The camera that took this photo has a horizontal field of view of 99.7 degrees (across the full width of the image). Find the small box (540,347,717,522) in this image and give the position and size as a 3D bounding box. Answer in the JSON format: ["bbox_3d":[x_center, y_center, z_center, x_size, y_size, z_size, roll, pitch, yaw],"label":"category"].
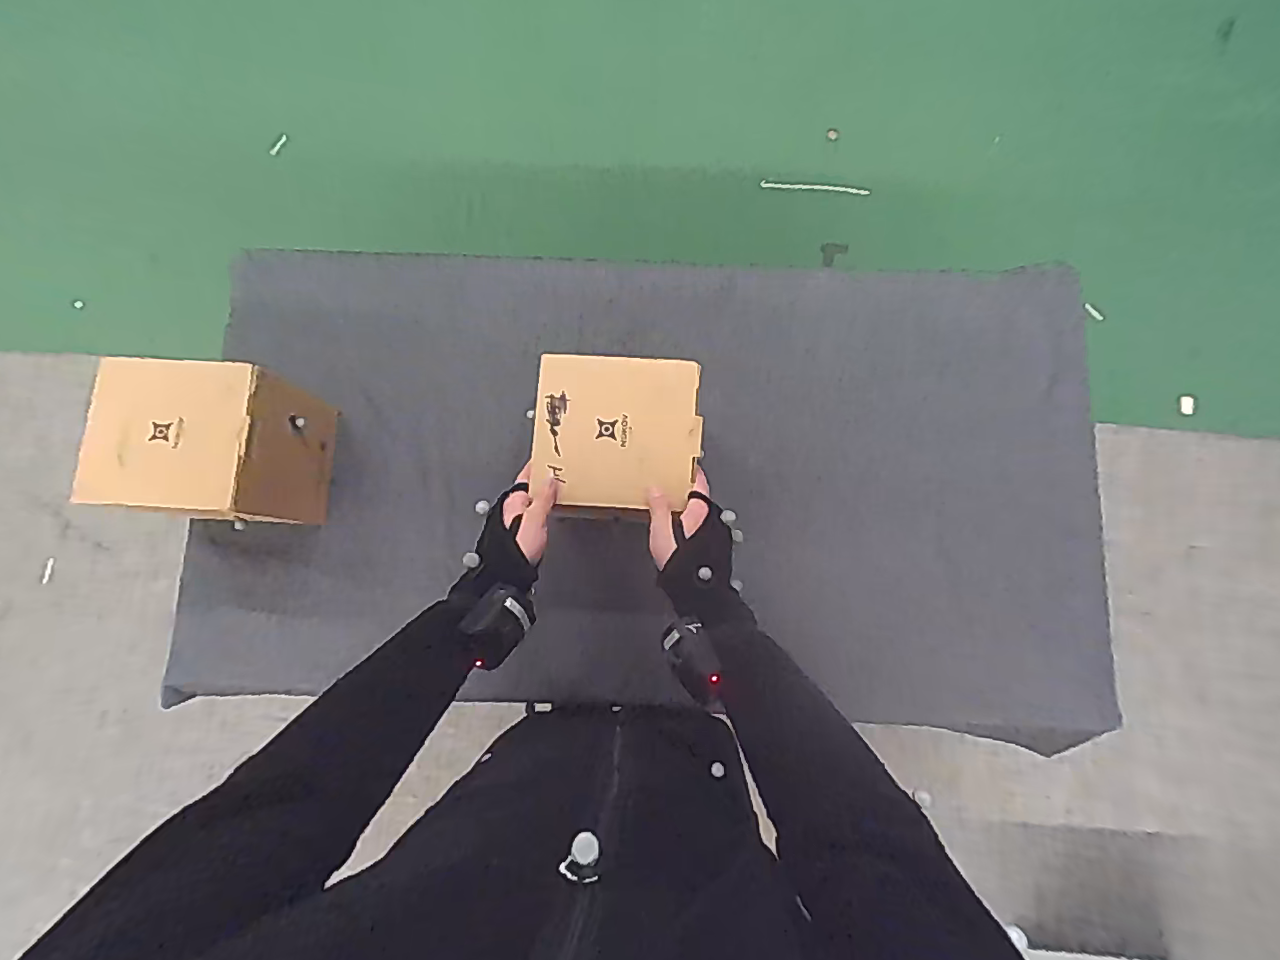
[{"bbox_3d":[-0.013,-0.042,0.642,0.179,0.176,0.168,4,80,-1],"label":"small box"}]

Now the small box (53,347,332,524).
[{"bbox_3d":[-0.494,-0.041,0.629,0.179,0.176,0.168,2,79,0],"label":"small box"}]
